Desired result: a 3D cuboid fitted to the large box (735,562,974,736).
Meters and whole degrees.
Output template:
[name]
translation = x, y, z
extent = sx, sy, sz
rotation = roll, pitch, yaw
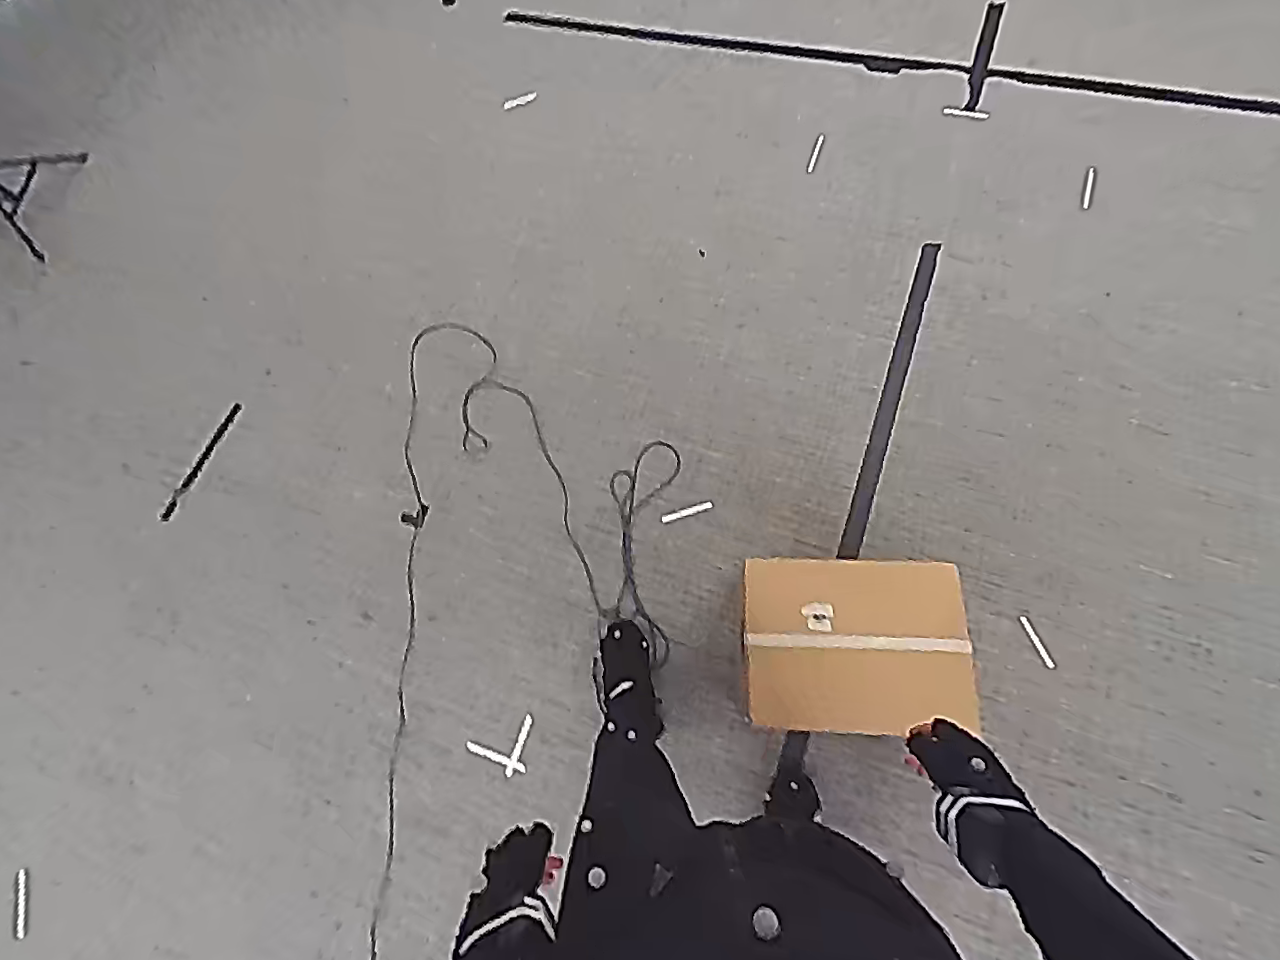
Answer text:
[large box]
translation = 0.419, 0.355, 1.165
extent = 0.408, 0.320, 0.320
rotation = -1, 72, 7
